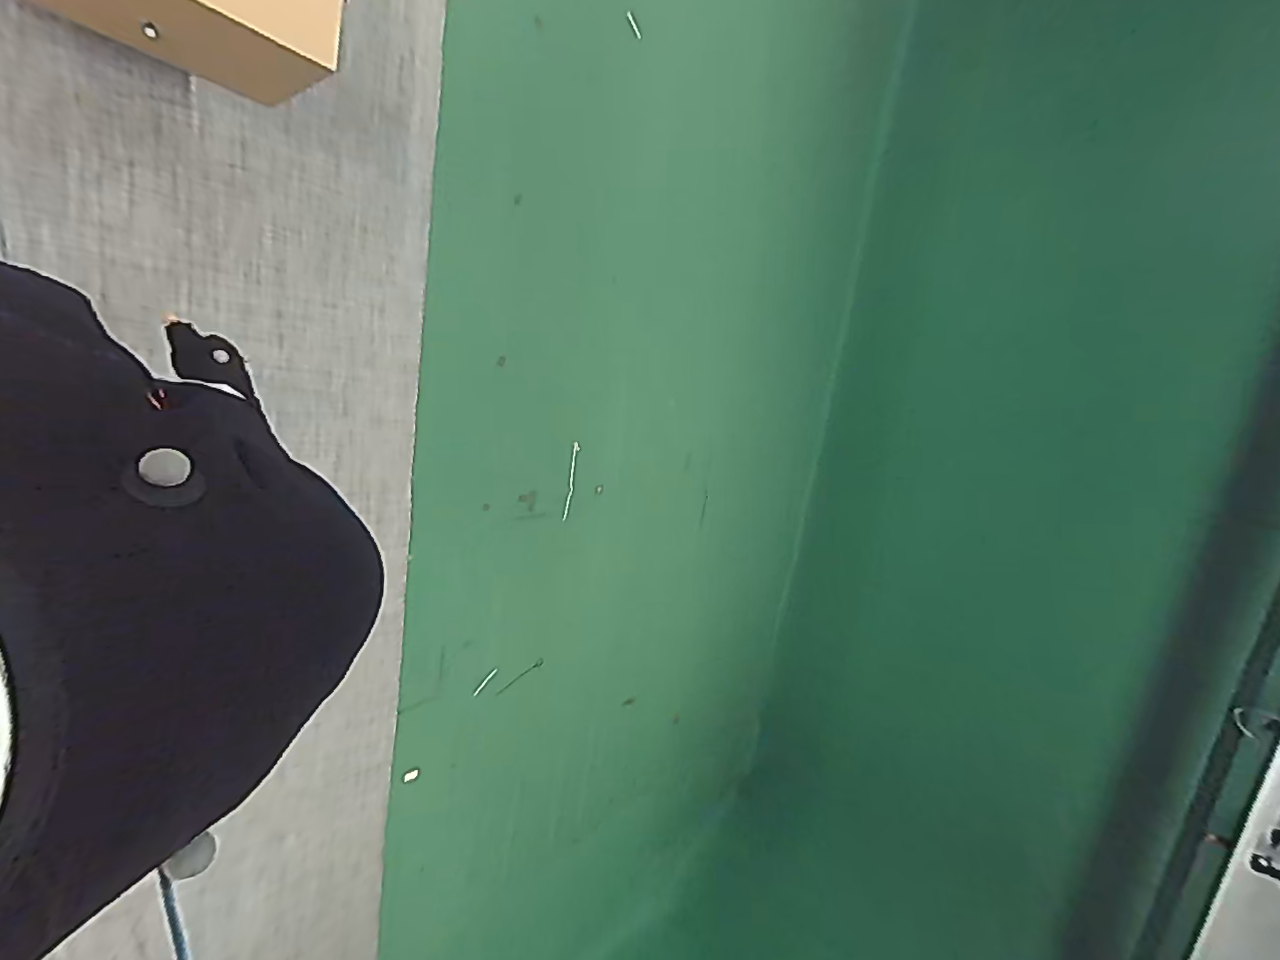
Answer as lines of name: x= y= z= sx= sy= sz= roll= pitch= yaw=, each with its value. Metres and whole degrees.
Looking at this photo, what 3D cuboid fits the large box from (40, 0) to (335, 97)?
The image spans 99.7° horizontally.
large box: x=-0.710 y=-0.842 z=0.787 sx=0.408 sy=0.320 sz=0.320 roll=-2 pitch=105 yaw=-50
